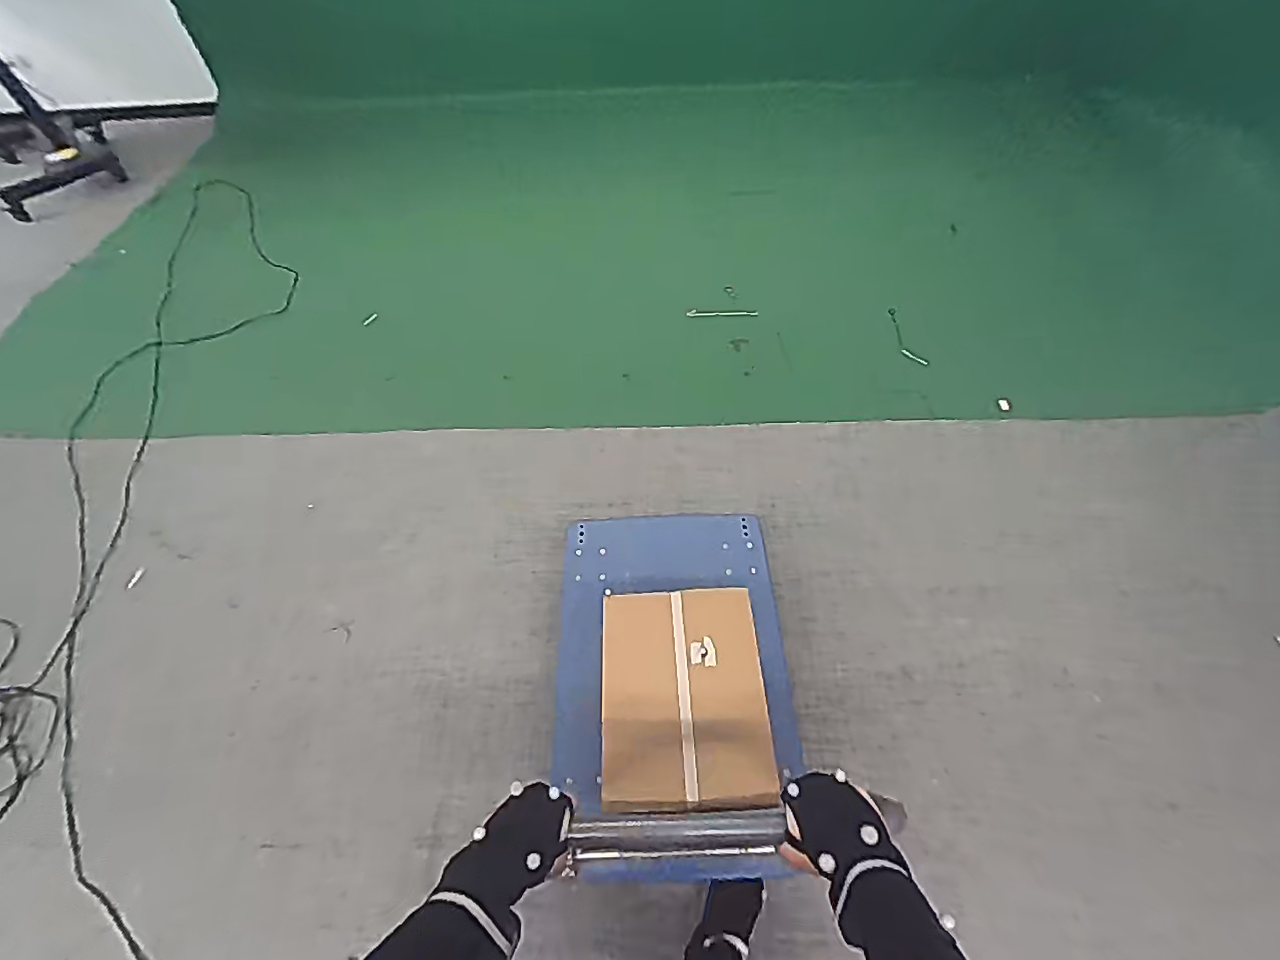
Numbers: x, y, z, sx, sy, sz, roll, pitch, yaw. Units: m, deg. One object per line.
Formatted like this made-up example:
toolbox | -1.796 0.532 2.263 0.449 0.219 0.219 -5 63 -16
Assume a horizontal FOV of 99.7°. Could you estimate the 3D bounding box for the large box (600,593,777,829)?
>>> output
large box | 0.087 0.503 1.175 0.320 0.320 0.408 -3 53 1
